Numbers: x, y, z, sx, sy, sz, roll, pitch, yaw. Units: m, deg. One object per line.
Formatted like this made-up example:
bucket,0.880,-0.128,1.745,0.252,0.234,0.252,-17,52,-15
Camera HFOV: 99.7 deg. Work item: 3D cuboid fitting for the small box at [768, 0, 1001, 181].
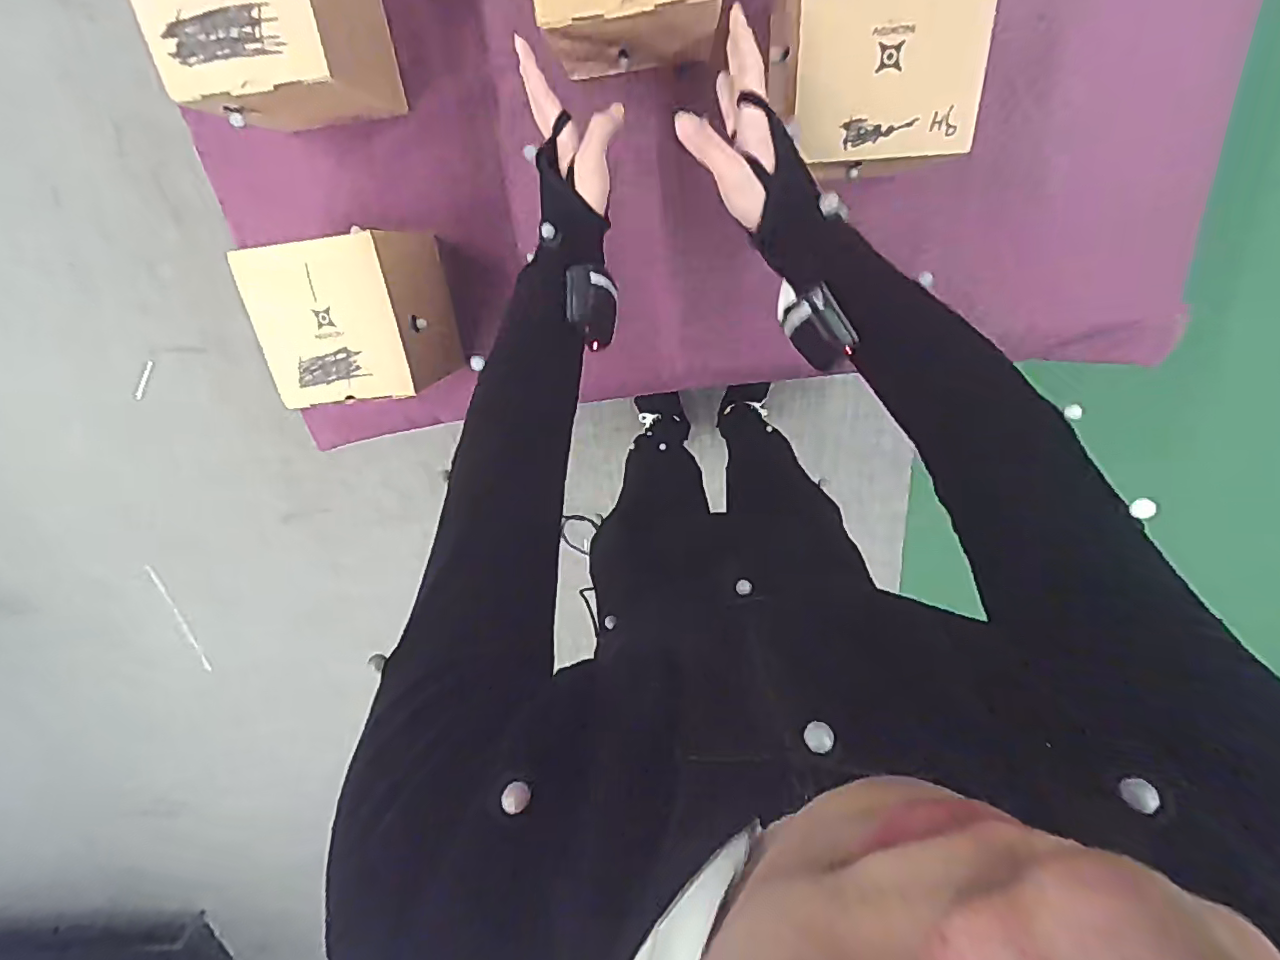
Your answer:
small box,0.227,-0.413,0.544,0.168,0.176,0.179,-1,113,3

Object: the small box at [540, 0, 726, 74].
small box,-0.012,-0.521,0.511,0.168,0.176,0.179,-5,114,5

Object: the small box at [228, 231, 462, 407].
small box,-0.339,-0.202,0.666,0.168,0.176,0.179,-5,112,5
